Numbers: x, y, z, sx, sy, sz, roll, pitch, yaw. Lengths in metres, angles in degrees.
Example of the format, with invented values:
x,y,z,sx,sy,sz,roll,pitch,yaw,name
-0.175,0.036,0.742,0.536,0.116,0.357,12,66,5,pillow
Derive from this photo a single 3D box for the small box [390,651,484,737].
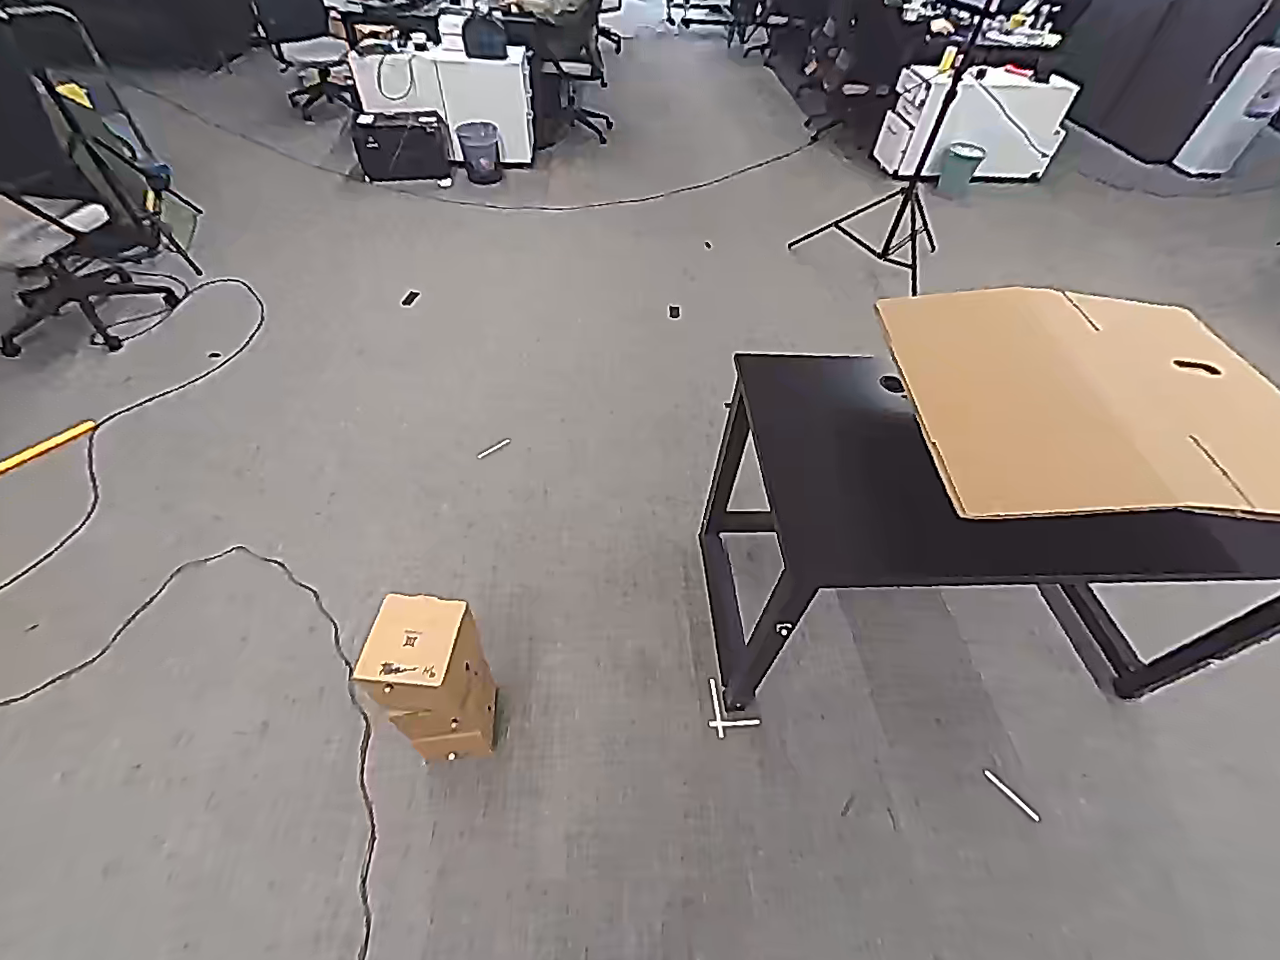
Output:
x,y,z,sx,sy,sz,roll,pitch,yaw,name
-0.451,0.466,1.228,0.168,0.176,0.179,-5,48,-10,small box

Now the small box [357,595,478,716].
x,y,z,sx,sy,sz,roll,pitch,yaw,name
-0.439,0.359,1.104,0.168,0.176,0.179,5,48,0,small box

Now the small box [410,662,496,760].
x,y,z,sx,sy,sz,roll,pitch,yaw,name
-0.456,0.576,1.346,0.168,0.176,0.179,-3,50,-6,small box
